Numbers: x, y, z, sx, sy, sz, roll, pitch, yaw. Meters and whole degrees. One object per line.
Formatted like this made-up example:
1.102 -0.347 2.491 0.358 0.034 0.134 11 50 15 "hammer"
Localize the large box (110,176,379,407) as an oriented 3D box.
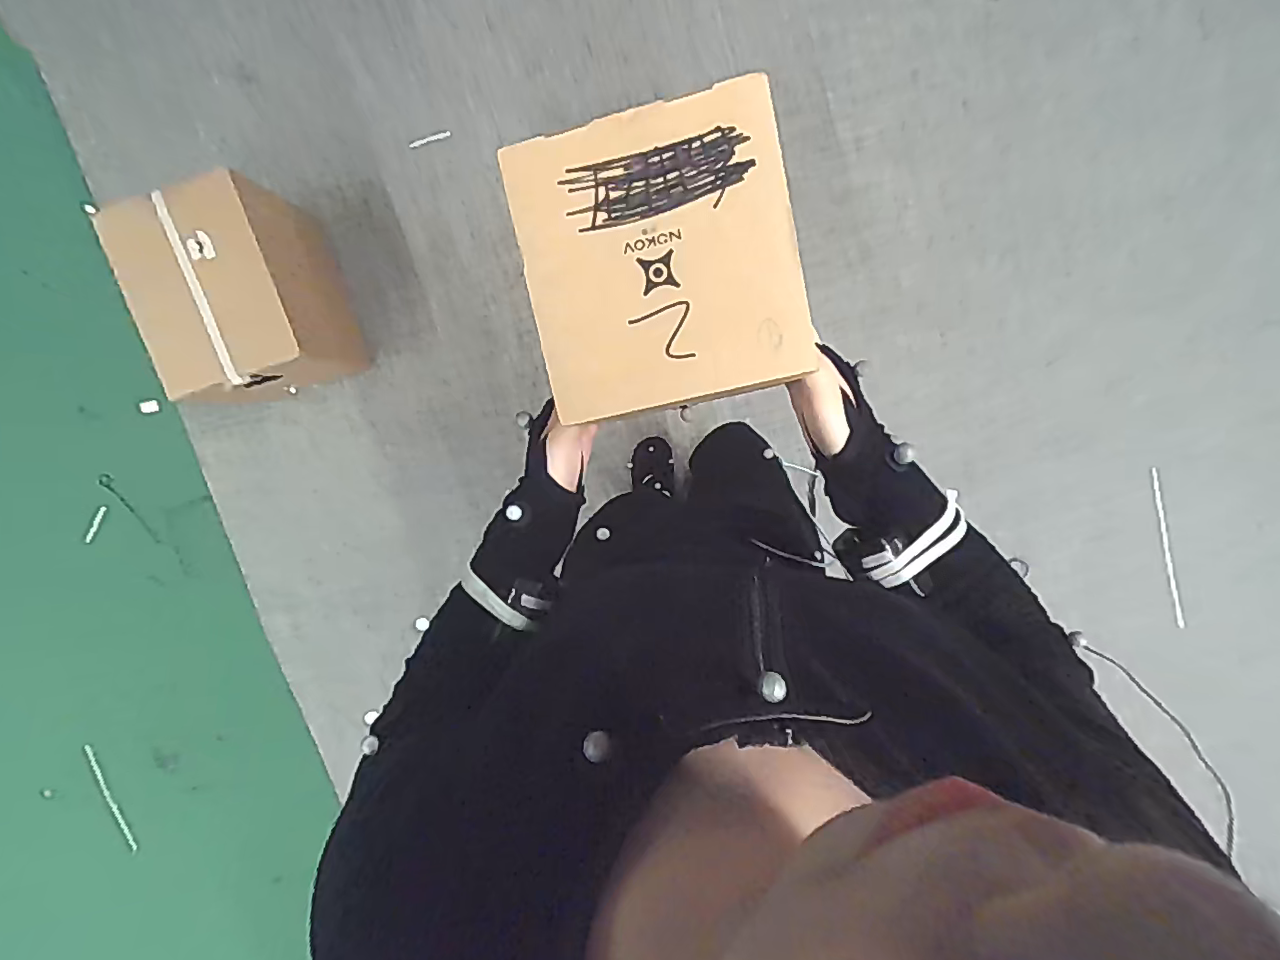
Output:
-0.909 -0.415 1.298 0.320 0.320 0.408 -18 96 3 "large box"
